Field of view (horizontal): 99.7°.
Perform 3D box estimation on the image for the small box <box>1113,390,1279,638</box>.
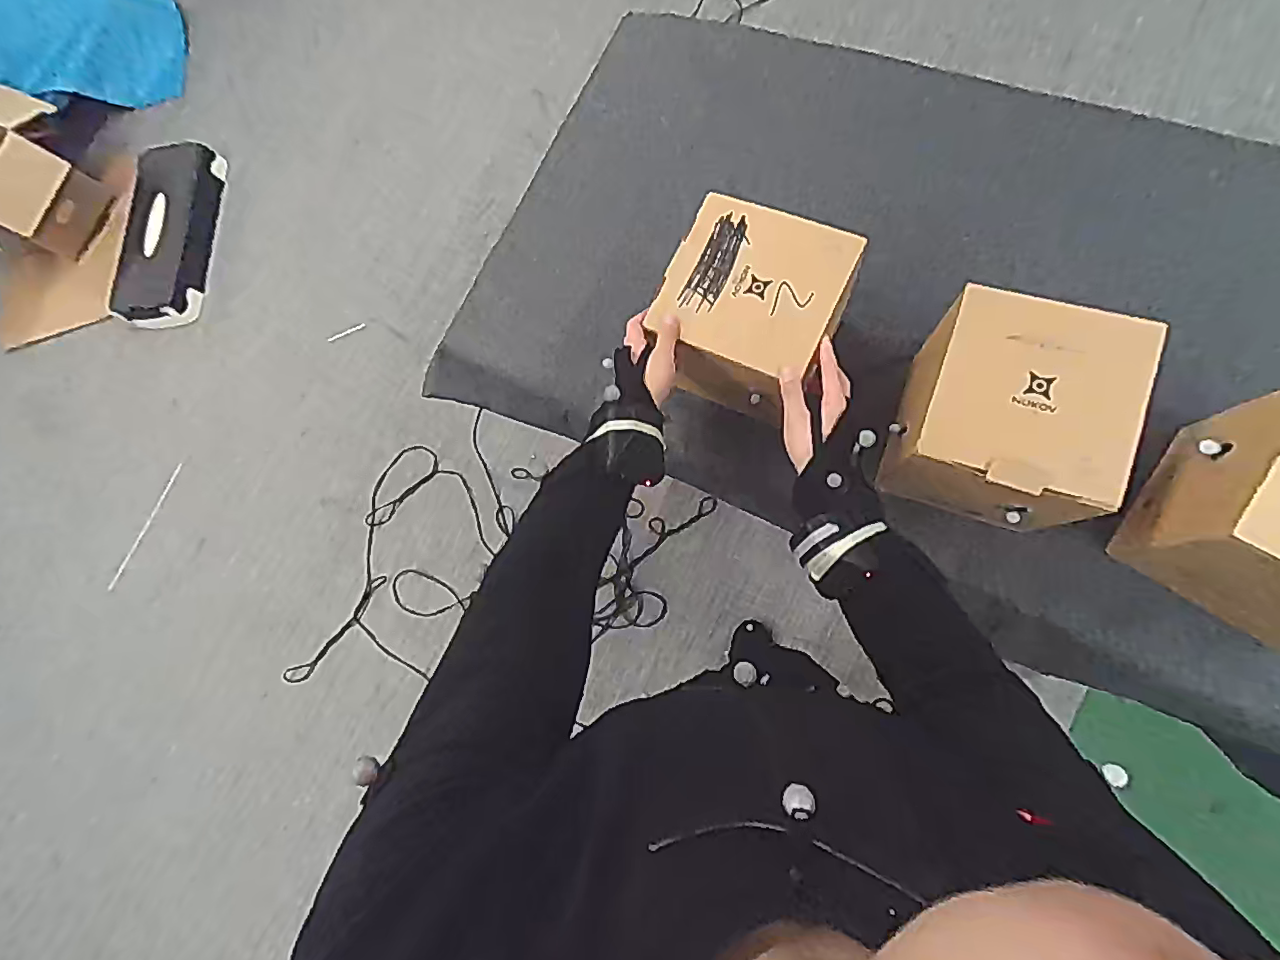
[{"bbox_3d":[0.595,0.037,0.485,0.179,0.176,0.168,34,86,15],"label":"small box"}]
